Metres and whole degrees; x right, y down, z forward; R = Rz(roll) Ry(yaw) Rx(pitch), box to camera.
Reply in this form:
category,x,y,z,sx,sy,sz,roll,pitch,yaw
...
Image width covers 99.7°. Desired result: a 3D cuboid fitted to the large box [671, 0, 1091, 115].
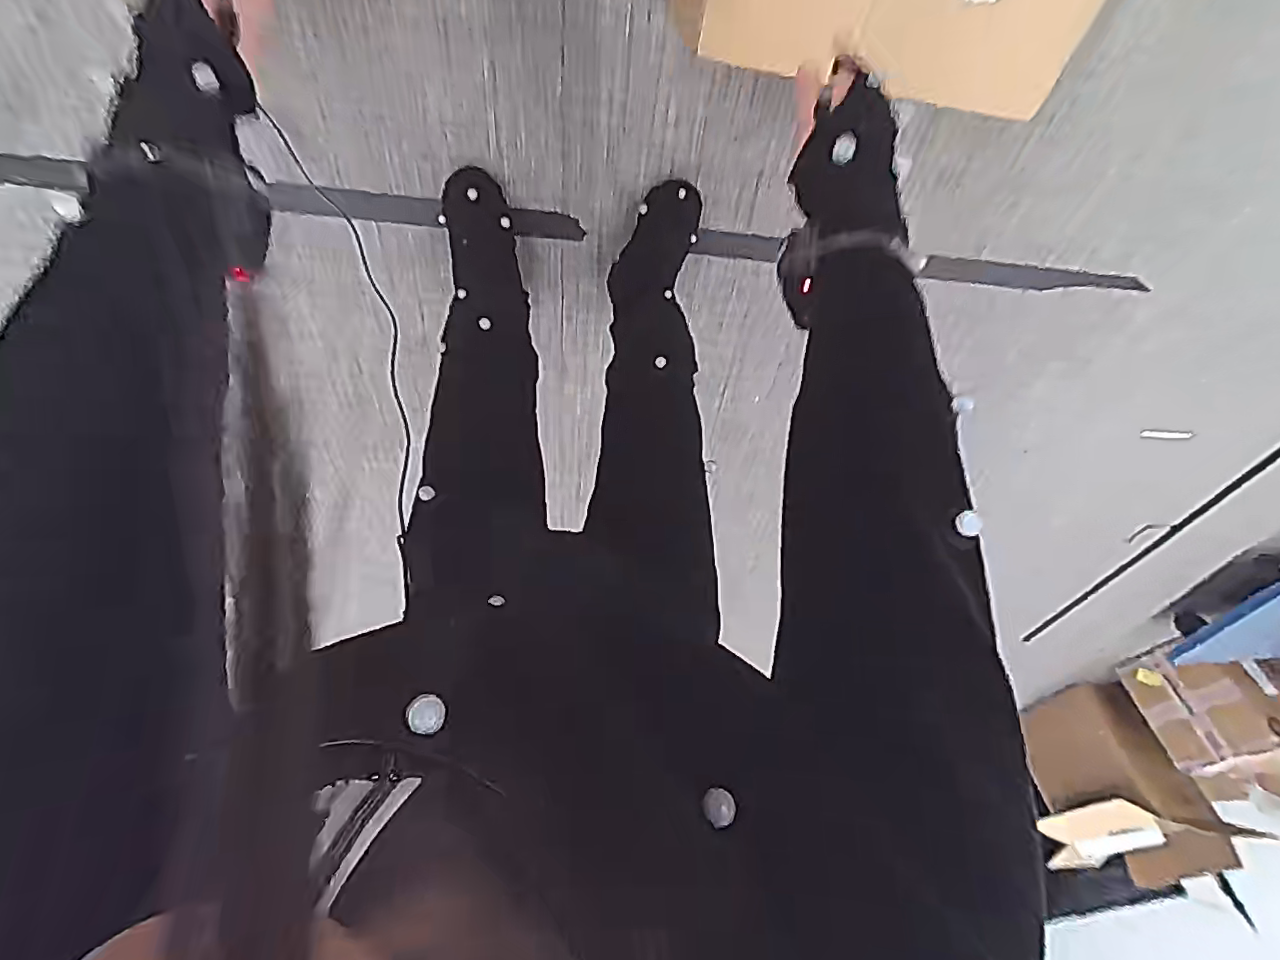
category,x,y,z,sx,sy,sz,roll,pitch,yaw
large box,0.271,-0.653,0.603,0.408,0.320,0.320,3,136,-10
